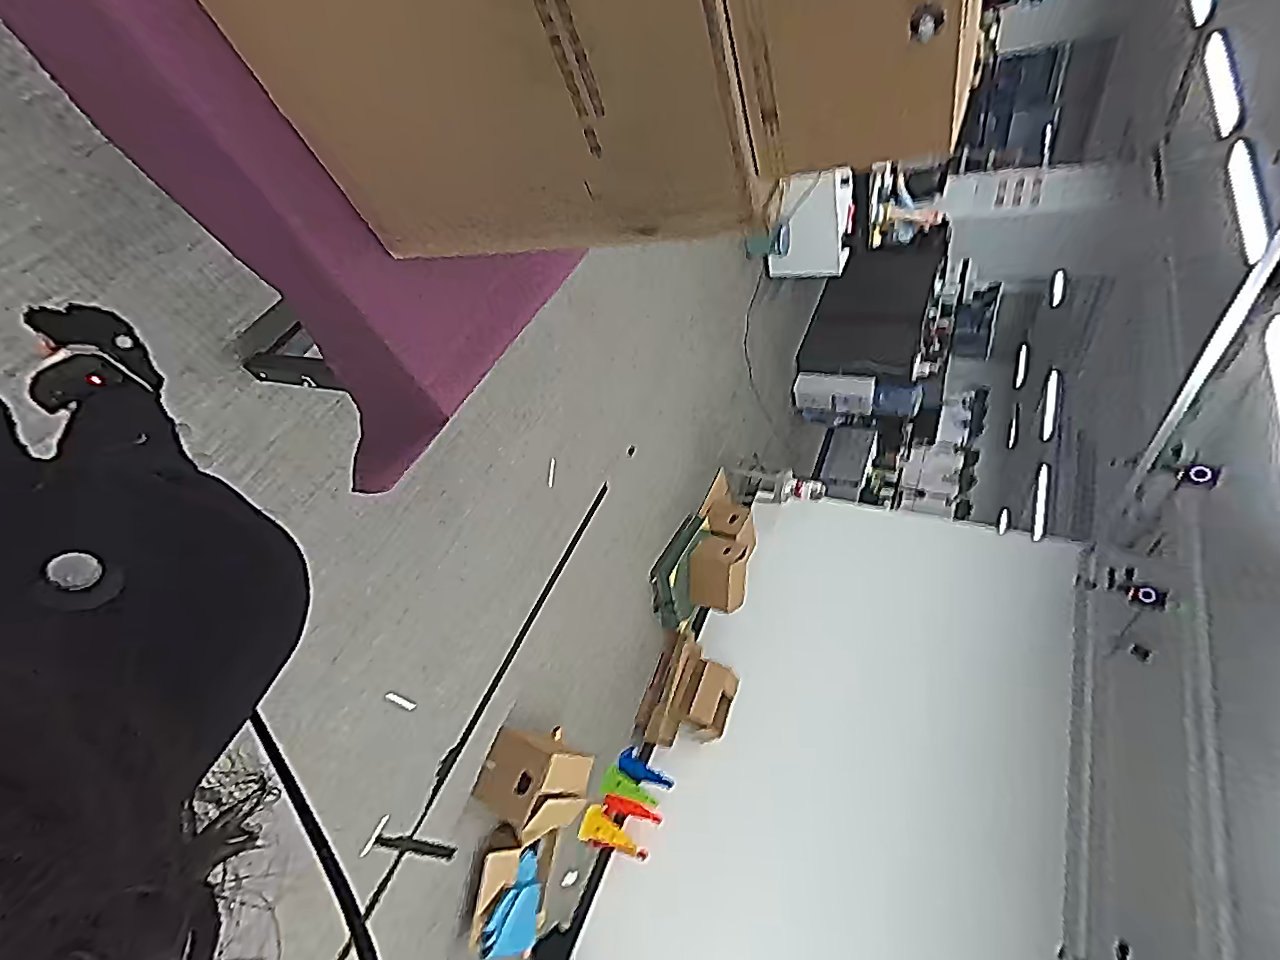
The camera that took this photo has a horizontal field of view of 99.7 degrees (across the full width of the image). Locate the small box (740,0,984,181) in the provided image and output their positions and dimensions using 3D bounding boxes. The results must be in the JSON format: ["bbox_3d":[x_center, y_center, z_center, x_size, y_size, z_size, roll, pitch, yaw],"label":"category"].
[{"bbox_3d":[0.198,-0.392,0.470,0.179,0.176,0.168,-65,148,-26],"label":"small box"}]
